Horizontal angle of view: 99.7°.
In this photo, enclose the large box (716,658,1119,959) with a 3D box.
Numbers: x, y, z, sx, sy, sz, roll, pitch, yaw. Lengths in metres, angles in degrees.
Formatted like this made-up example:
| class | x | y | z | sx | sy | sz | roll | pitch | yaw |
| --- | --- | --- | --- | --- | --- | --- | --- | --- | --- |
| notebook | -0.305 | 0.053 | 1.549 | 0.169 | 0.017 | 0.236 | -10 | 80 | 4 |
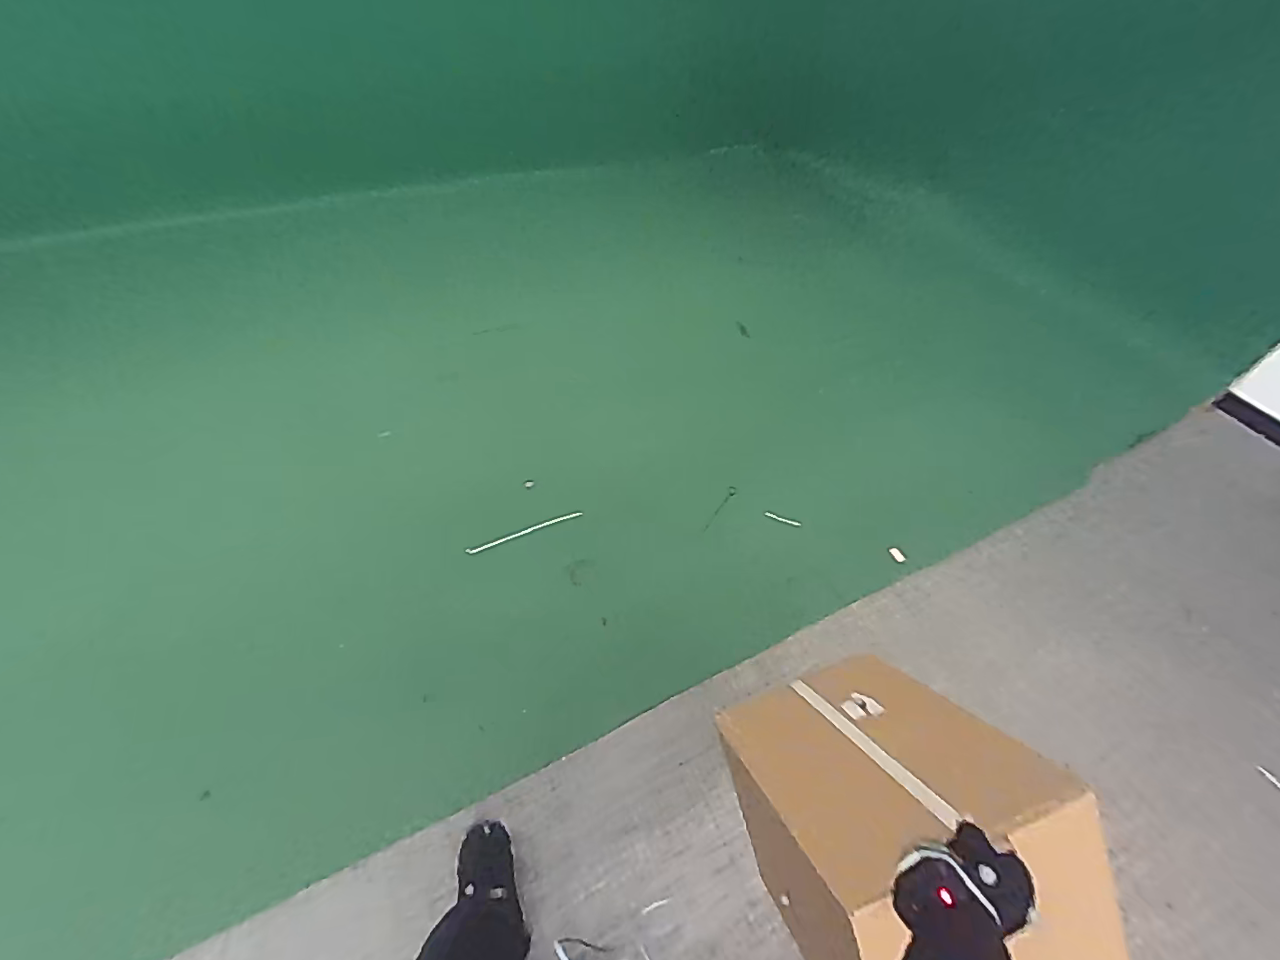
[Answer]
| class | x | y | z | sx | sy | sz | roll | pitch | yaw |
| --- | --- | --- | --- | --- | --- | --- | --- | --- | --- |
| large box | 0.358 | 0.523 | 0.787 | 0.320 | 0.408 | 0.320 | -17 | 96 | -10 |
